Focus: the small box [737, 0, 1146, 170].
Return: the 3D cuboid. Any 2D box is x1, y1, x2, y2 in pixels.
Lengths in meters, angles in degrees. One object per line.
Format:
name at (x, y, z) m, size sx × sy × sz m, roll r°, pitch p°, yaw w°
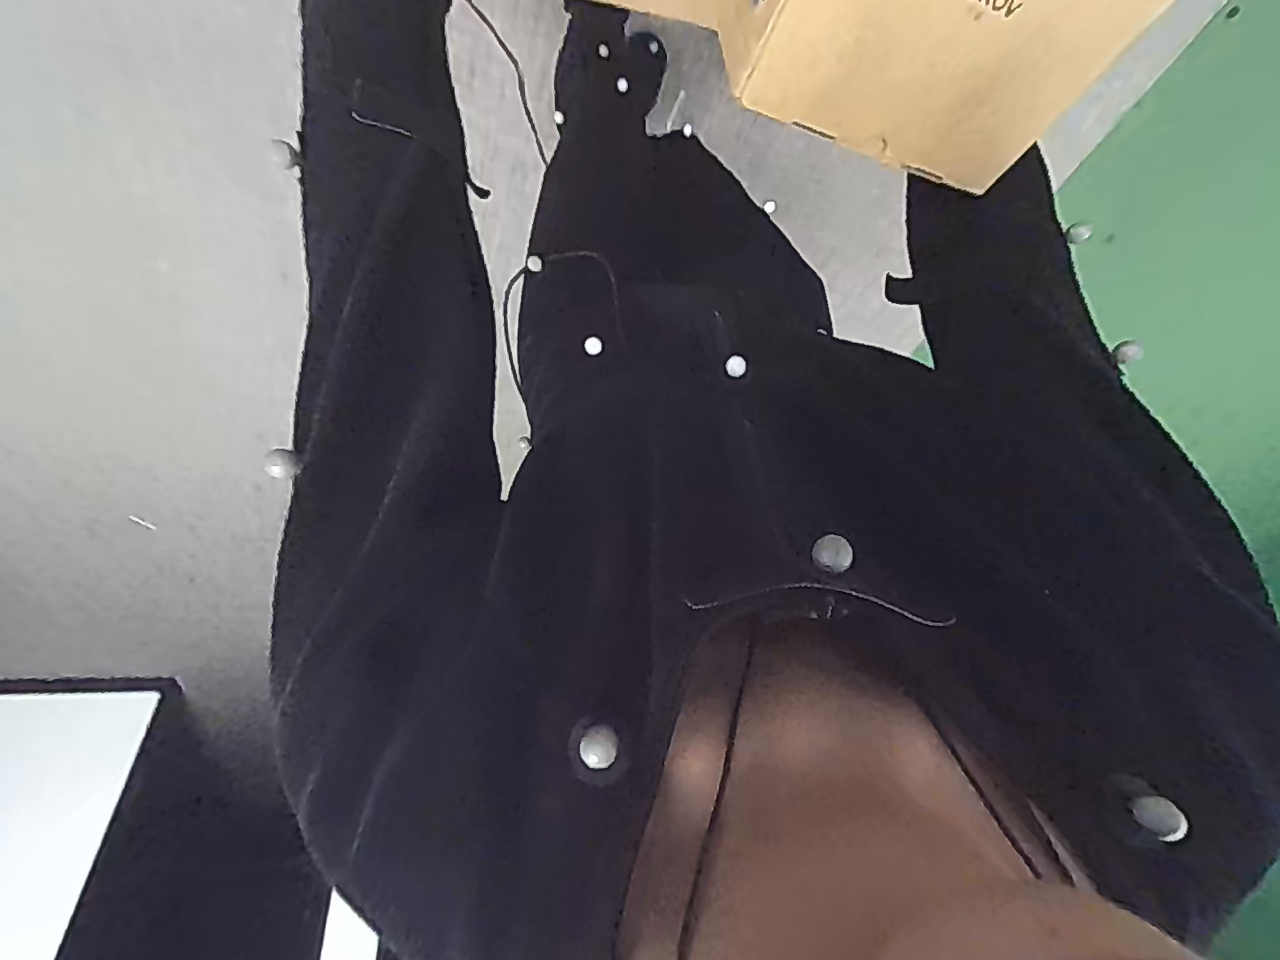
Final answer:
small box at (0.145, -0.296, 0.249) m, size 0.168 × 0.176 × 0.179 m, roll 6°, pitch 153°, yaw -19°
